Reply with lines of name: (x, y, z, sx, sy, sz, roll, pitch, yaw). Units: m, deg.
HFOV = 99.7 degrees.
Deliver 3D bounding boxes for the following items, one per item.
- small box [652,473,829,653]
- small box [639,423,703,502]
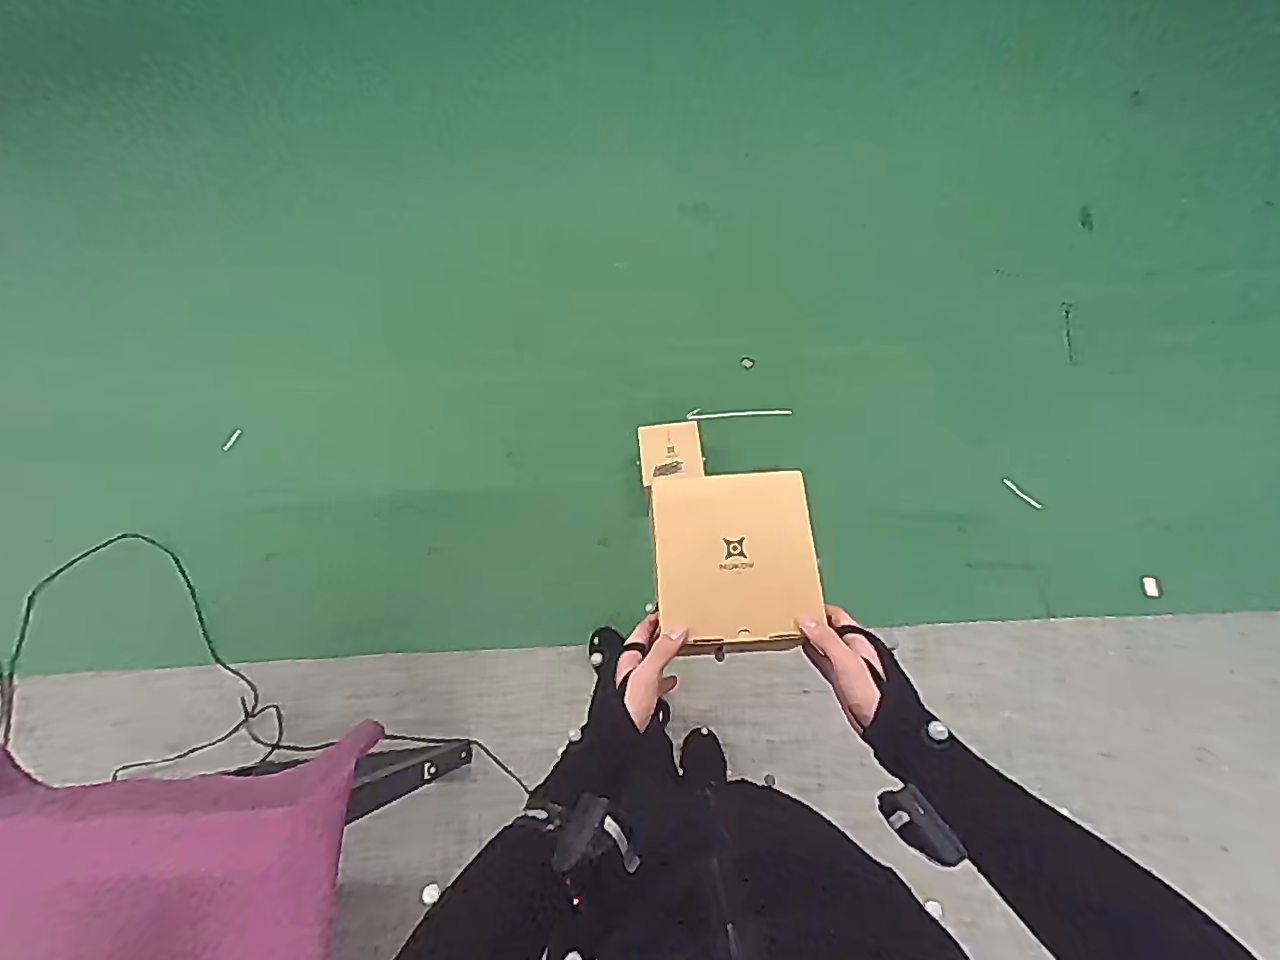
small box: (0.101, 0.104, 0.631, 0.168, 0.176, 0.179, -3, 70, 0)
small box: (0.089, -0.043, 1.529, 0.168, 0.176, 0.179, -6, 70, 2)
